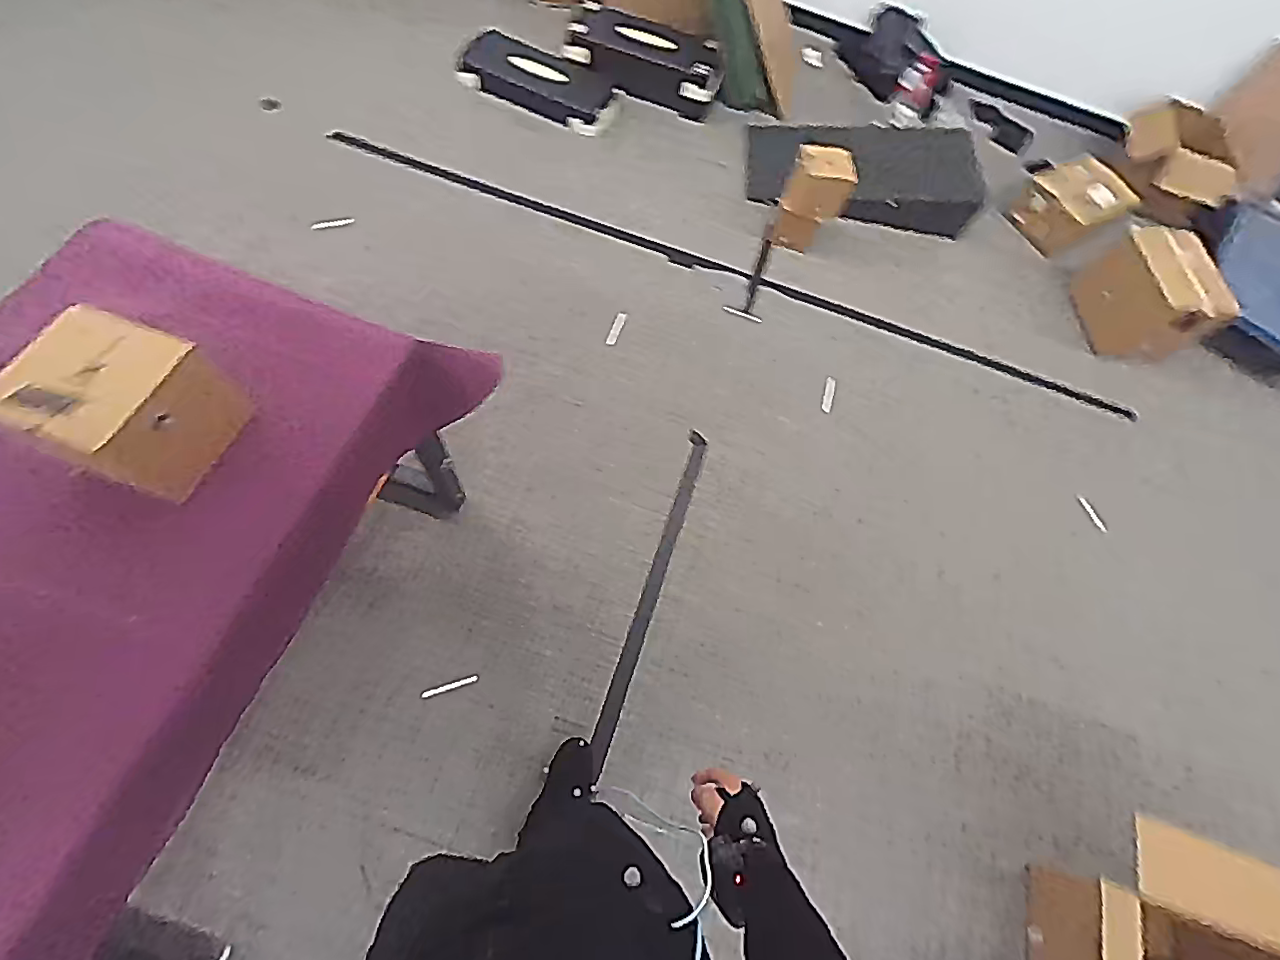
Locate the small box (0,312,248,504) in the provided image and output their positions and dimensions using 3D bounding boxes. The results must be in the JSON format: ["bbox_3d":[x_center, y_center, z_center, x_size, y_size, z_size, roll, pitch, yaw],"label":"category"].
[{"bbox_3d":[-0.695,-0.089,0.743,0.168,0.176,0.179,19,64,0],"label":"small box"}]
